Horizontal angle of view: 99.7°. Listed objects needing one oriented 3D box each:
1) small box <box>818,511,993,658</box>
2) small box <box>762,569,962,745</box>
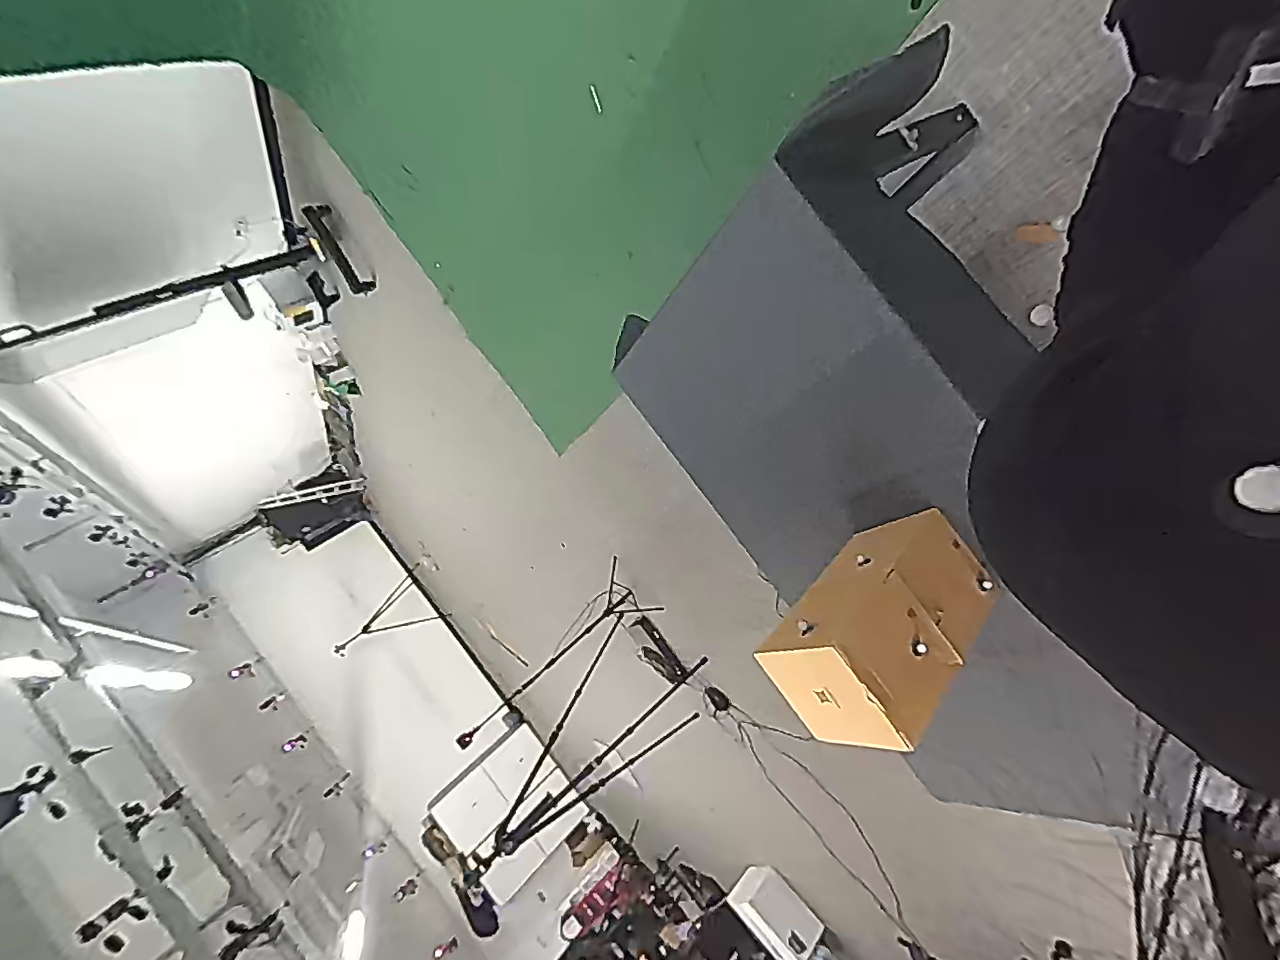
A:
[{"bbox_3d":[0.435,0.174,0.879,0.168,0.176,0.179,53,149,2],"label":"small box"},{"bbox_3d":[0.323,0.254,0.793,0.168,0.176,0.179,53,148,2],"label":"small box"}]
